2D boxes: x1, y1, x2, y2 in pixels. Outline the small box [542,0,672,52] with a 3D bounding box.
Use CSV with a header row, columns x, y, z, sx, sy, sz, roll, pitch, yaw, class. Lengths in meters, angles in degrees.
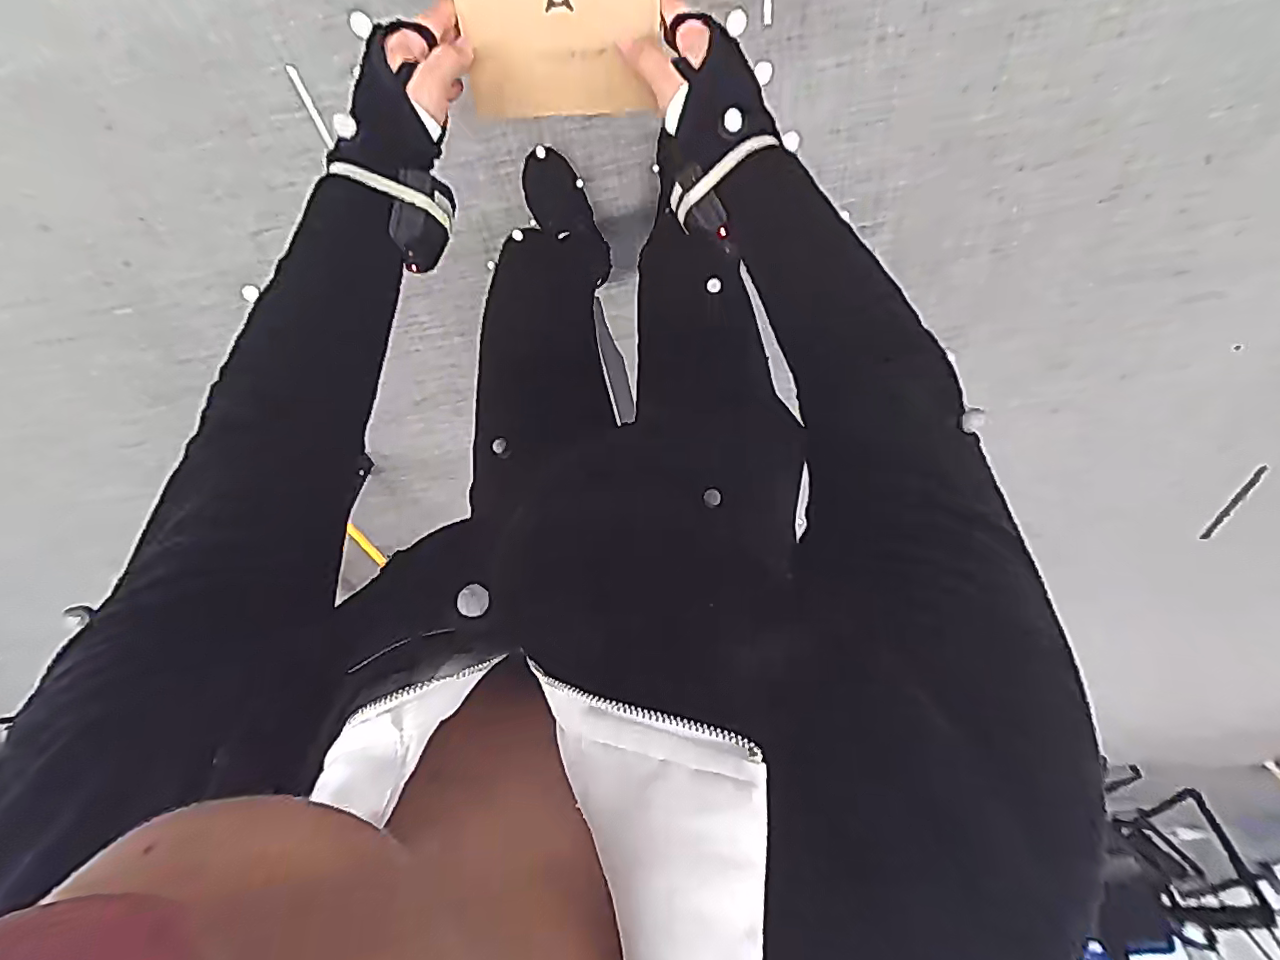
x,y,z,sx,sy,sz,roll,pitch,yaw,class
-0.056,-0.744,0.768,0.179,0.176,0.168,-8,136,8,small box
